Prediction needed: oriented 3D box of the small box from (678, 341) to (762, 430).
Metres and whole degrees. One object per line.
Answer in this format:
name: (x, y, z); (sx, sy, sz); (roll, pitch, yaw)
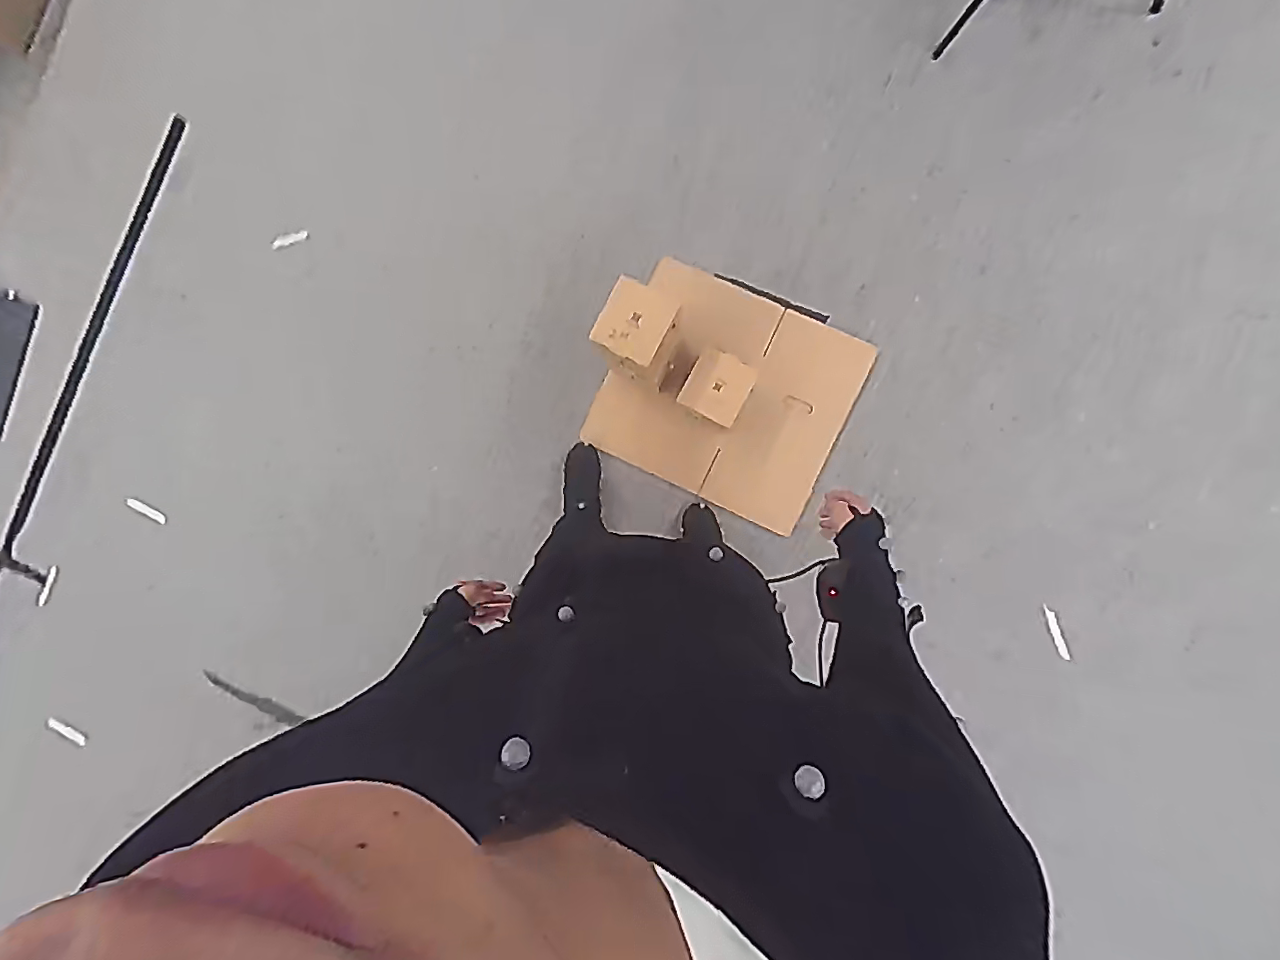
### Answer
small box: (0.215, -0.255, 1.505); (0.168, 0.176, 0.179); (29, 93, 4)

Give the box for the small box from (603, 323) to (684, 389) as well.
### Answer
small box: (0.019, -0.375, 1.523); (0.168, 0.176, 0.179); (28, 94, 5)

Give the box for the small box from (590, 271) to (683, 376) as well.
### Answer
small box: (-0.003, -0.384, 1.359); (0.168, 0.176, 0.179); (29, 94, 6)
